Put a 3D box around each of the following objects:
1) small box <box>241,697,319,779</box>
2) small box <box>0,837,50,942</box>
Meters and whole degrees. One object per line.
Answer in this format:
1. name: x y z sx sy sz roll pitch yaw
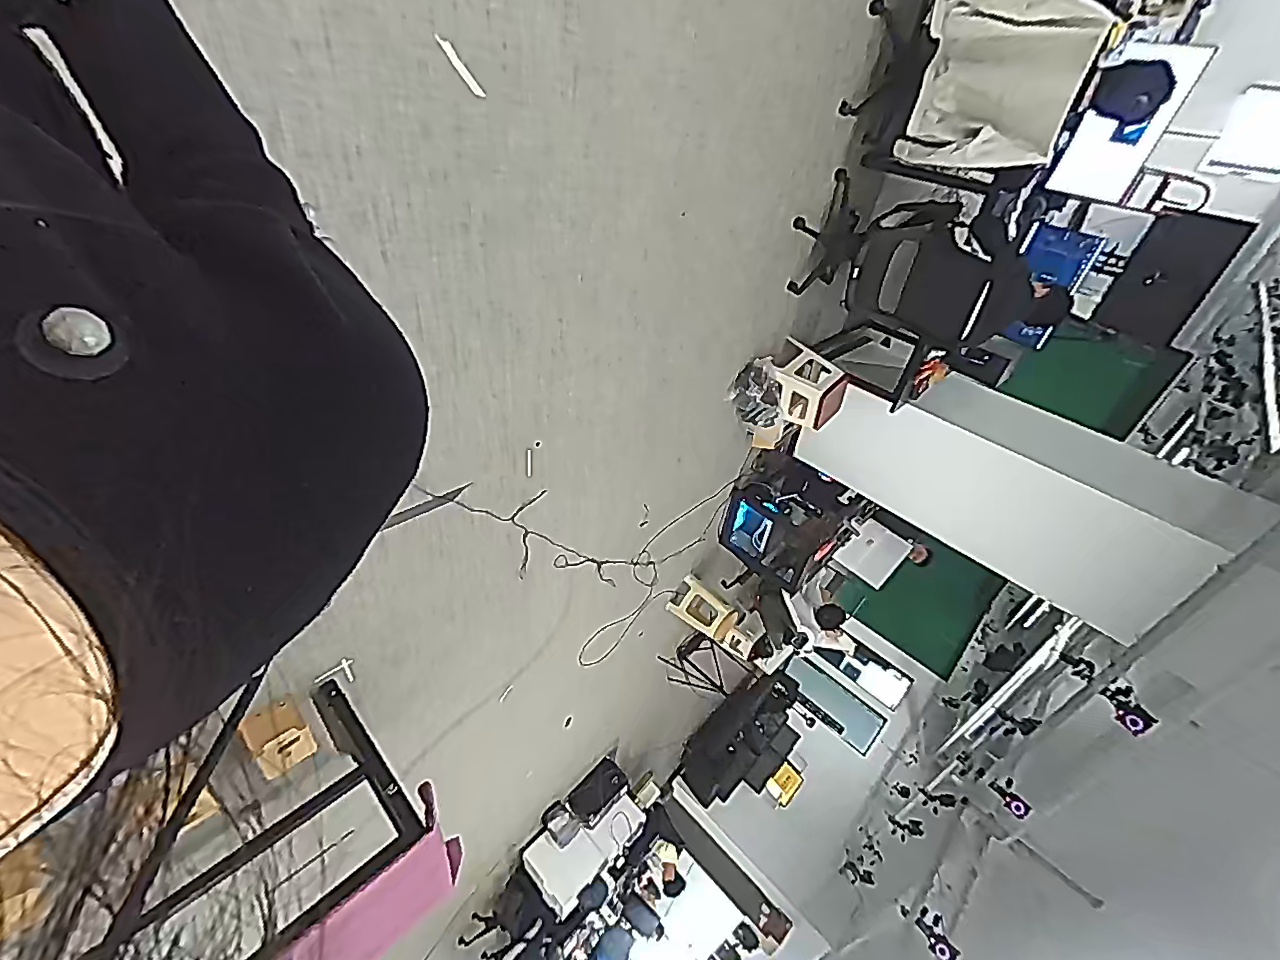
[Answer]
1. small box: -1.282 0.907 1.923 0.168 0.176 0.179 -28 142 -39
2. small box: -1.753 1.132 1.469 0.179 0.176 0.168 -13 130 -51
